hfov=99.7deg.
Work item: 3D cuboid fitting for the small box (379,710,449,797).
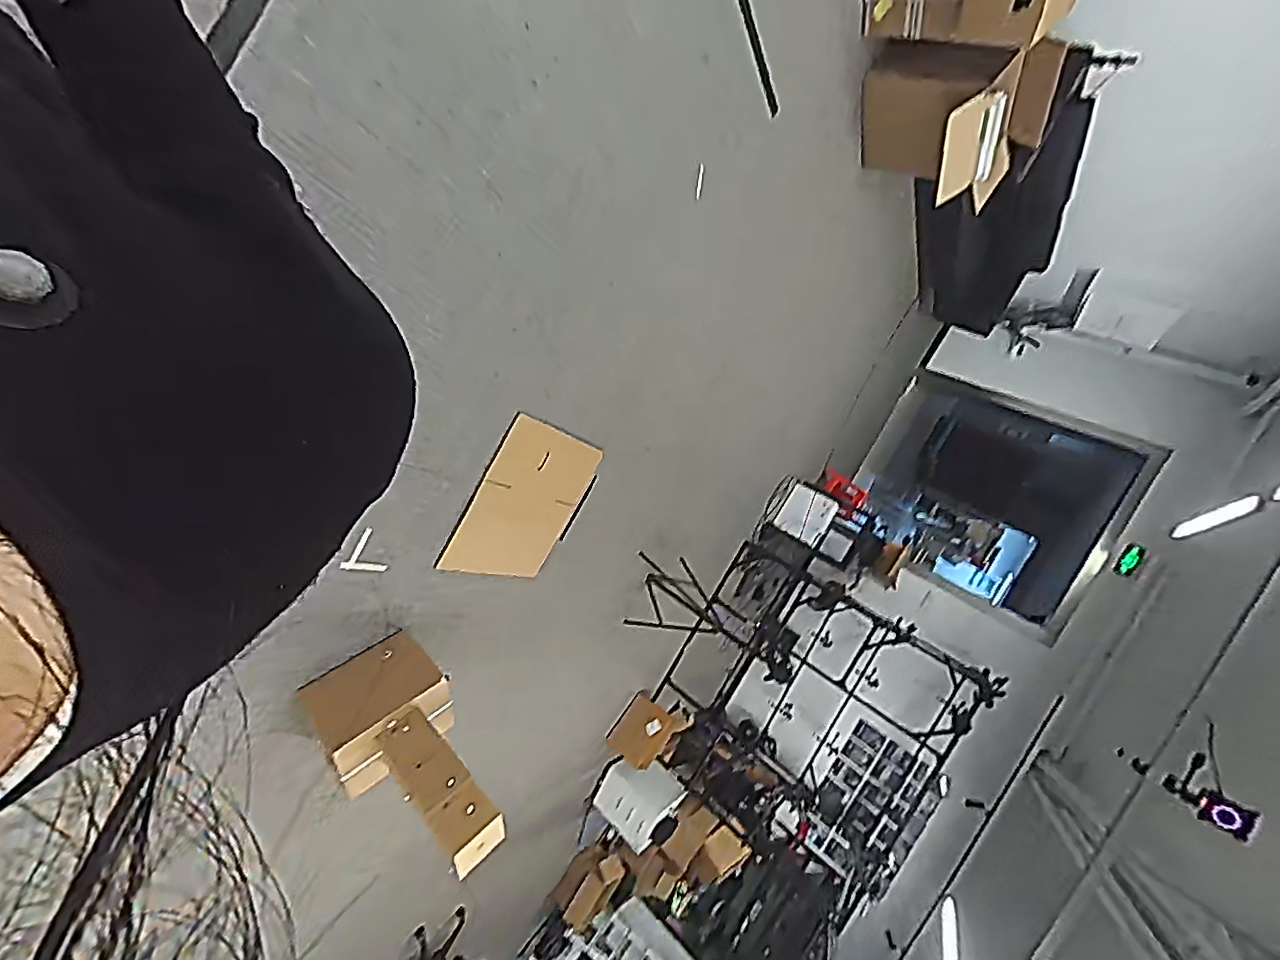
[{"bbox_3d":[-0.772,0.940,1.869,0.168,0.176,0.179,-30,138,-39],"label":"small box"}]

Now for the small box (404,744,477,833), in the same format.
[{"bbox_3d":[-0.652,1.015,1.786,0.168,0.176,0.179,-30,139,-39],"label":"small box"}]

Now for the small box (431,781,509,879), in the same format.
[{"bbox_3d":[-0.535,1.087,1.697,0.168,0.176,0.179,-30,139,-39],"label":"small box"}]
